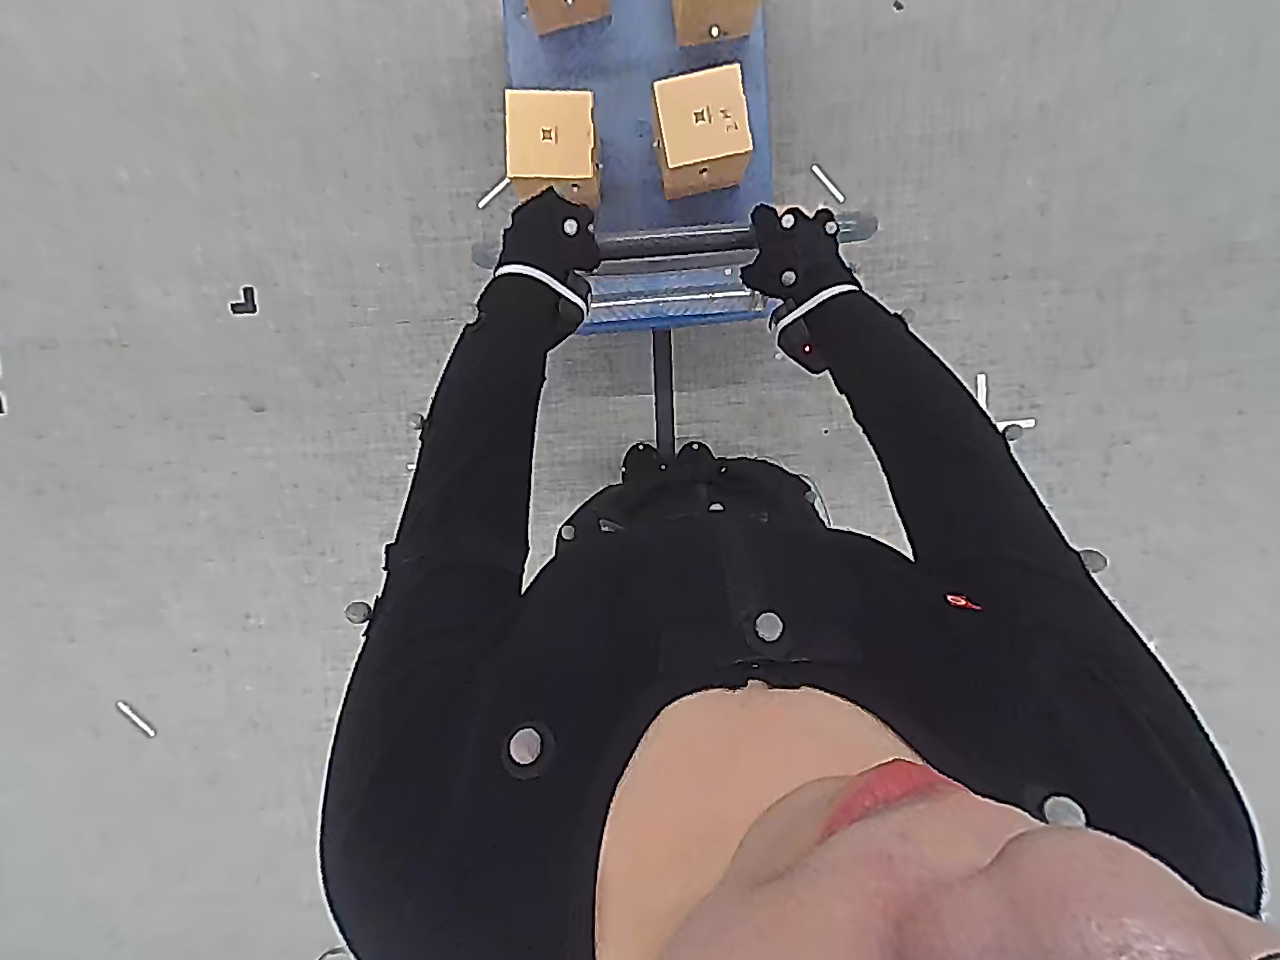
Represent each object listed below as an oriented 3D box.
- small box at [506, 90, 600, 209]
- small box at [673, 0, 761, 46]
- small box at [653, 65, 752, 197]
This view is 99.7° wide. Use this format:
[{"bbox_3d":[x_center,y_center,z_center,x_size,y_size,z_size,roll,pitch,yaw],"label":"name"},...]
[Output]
[{"bbox_3d":[-0.180,-0.697,1.157,0.179,0.176,0.168,0,97,-1],"label":"small box"},{"bbox_3d":[0.152,-1.044,1.105,0.168,0.176,0.179,-8,99,2],"label":"small box"},{"bbox_3d":[0.127,-0.727,1.147,0.179,0.176,0.168,-11,97,3],"label":"small box"}]
